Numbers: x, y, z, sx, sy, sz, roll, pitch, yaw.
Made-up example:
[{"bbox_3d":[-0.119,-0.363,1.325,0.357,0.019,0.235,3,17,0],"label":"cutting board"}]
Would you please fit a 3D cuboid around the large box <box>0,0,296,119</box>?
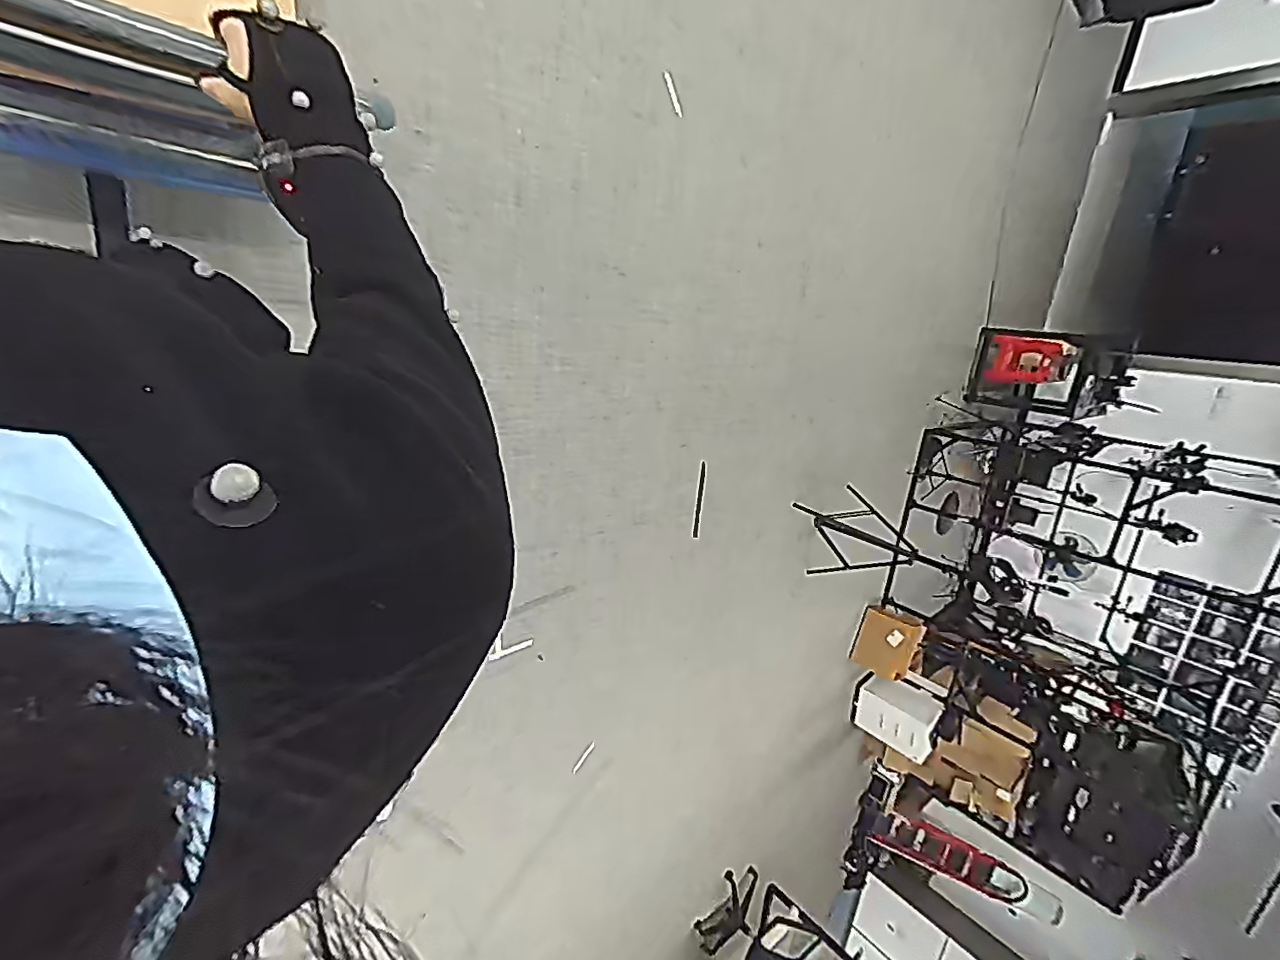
[{"bbox_3d":[-0.743,-0.730,0.716,0.408,0.320,0.320,-13,115,-42],"label":"large box"}]
